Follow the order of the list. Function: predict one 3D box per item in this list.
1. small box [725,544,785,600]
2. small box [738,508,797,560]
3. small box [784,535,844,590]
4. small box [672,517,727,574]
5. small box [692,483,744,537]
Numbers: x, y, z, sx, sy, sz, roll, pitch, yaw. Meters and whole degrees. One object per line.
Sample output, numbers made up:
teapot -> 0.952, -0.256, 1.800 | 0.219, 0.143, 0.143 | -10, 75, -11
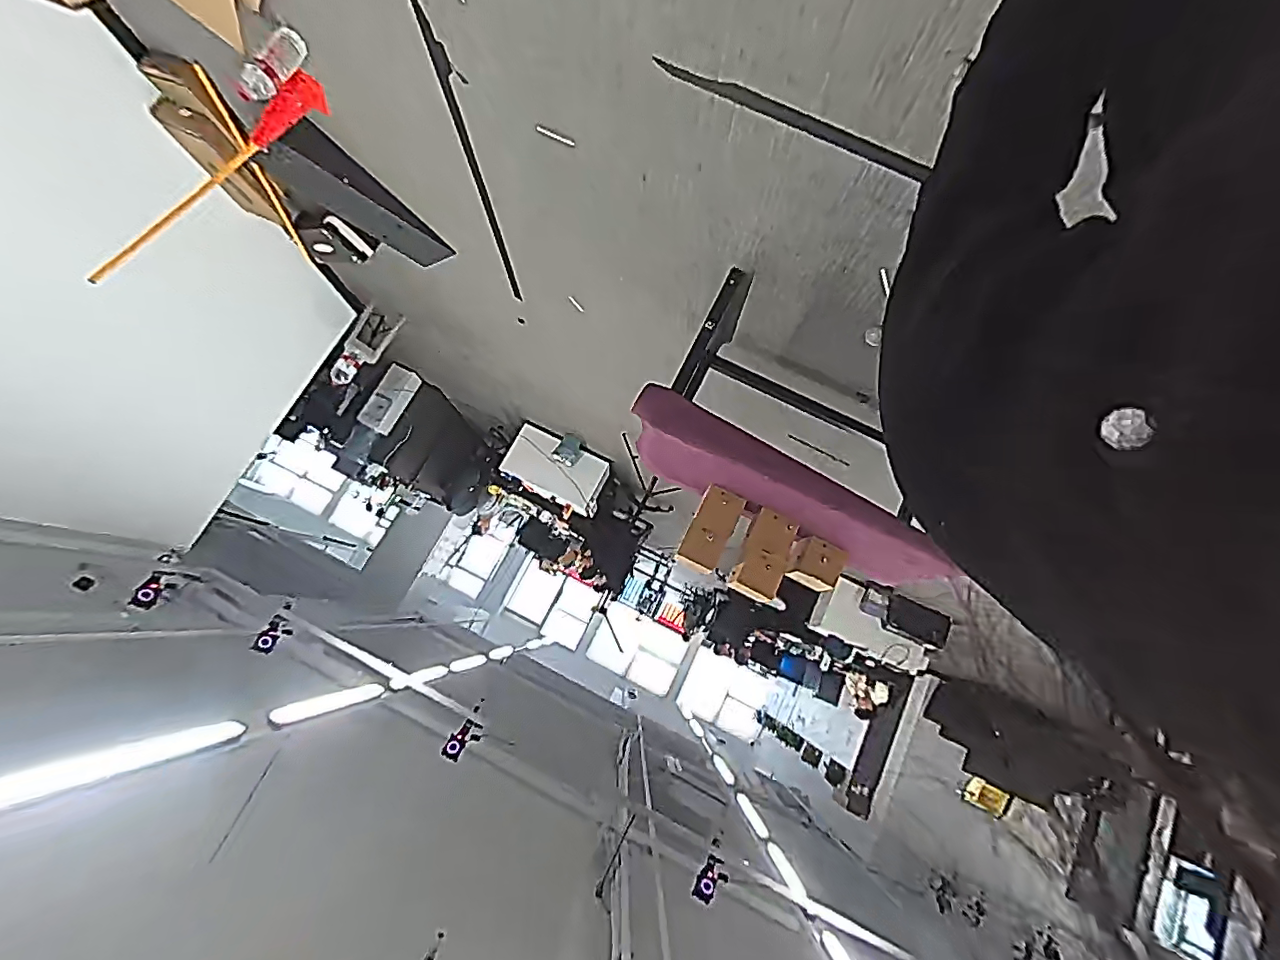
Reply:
small box -> 0.472, 0.378, 2.216 | 0.168, 0.176, 0.179 | 27, 165, 2
small box -> 0.532, 0.230, 2.250 | 0.168, 0.176, 0.179 | 26, 166, 4
small box -> 0.739, 0.347, 2.284 | 0.168, 0.176, 0.179 | 27, 164, 3
small box -> 0.248, 0.273, 2.253 | 0.168, 0.176, 0.179 | 25, 165, 6
small box -> 0.325, 0.134, 2.286 | 0.168, 0.176, 0.179 | 26, 166, 4
